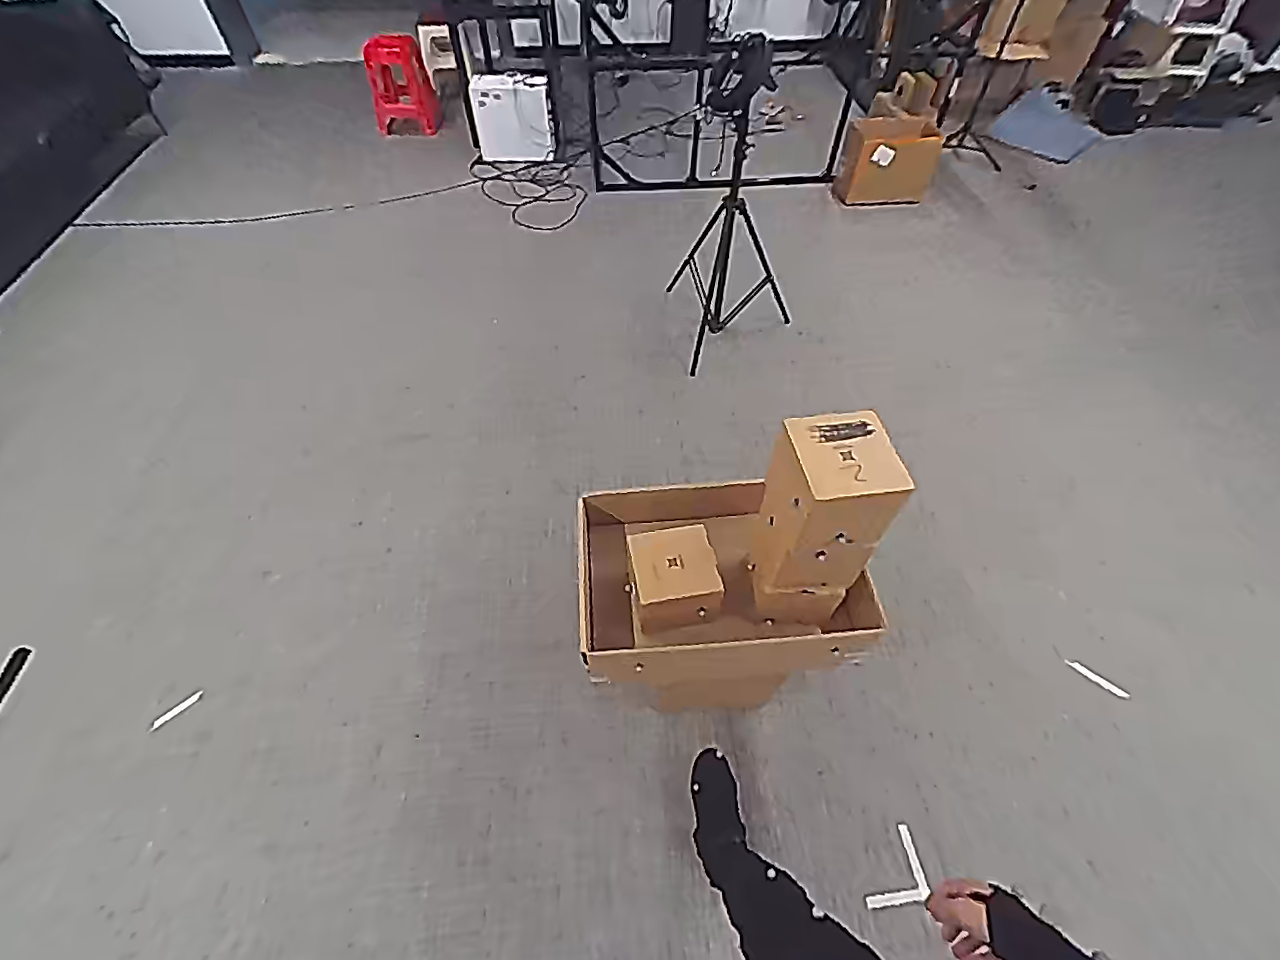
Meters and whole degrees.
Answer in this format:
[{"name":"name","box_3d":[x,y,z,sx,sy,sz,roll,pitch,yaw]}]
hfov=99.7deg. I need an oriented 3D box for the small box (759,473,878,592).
[{"name":"small box","box_3d":[0.342,0.106,1.077,0.168,0.176,0.179,-2,52,-1]}]
